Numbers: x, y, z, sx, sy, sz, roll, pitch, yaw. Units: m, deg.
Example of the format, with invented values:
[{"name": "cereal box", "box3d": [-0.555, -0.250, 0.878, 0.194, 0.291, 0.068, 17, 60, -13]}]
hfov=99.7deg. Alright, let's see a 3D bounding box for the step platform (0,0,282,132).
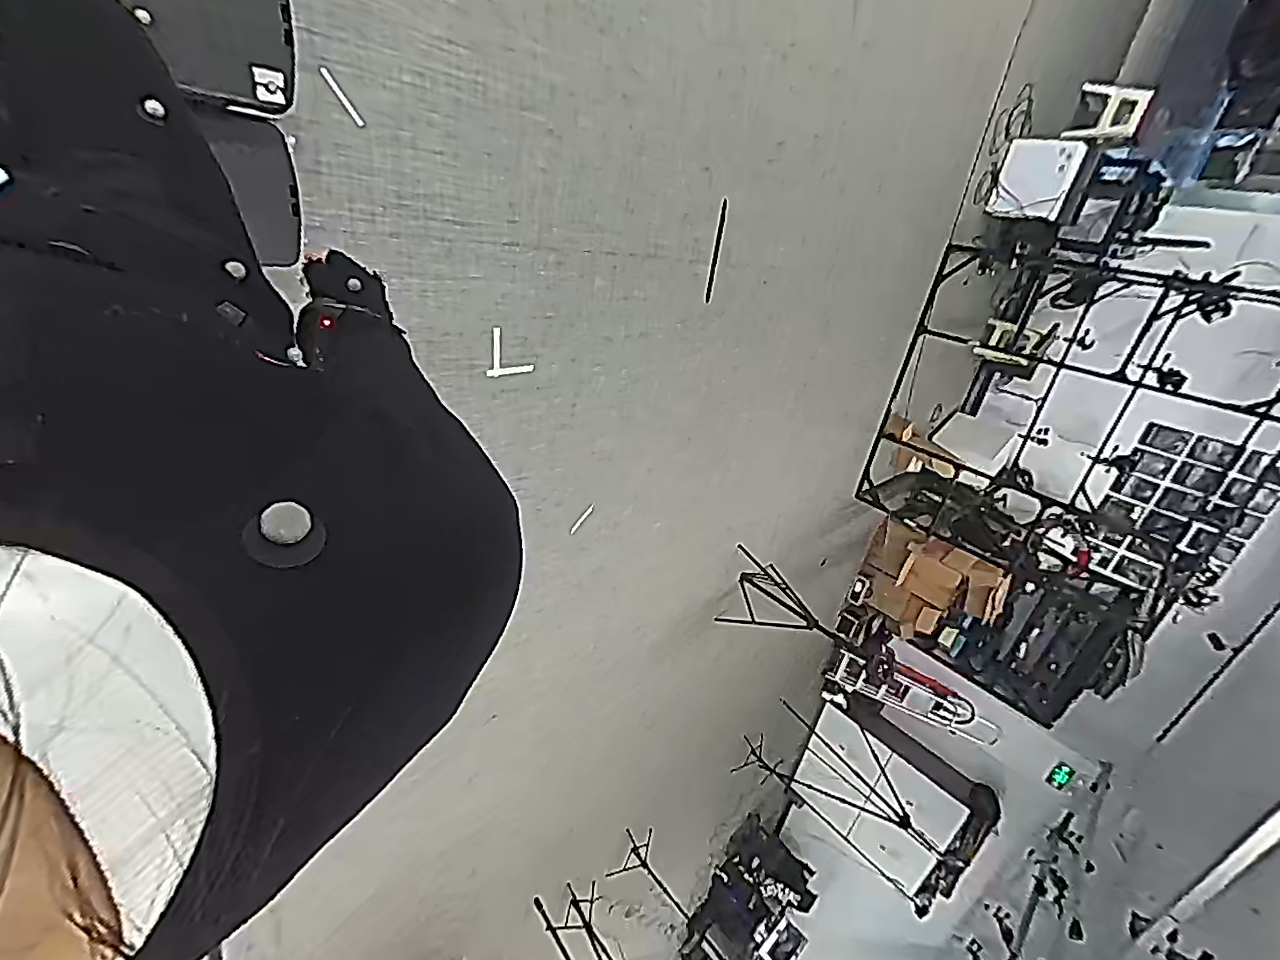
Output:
[{"name": "step platform", "box3d": [-0.946, -0.748, 0.808, 0.684, 0.204, 0.286, -18, 127, -42]}]
